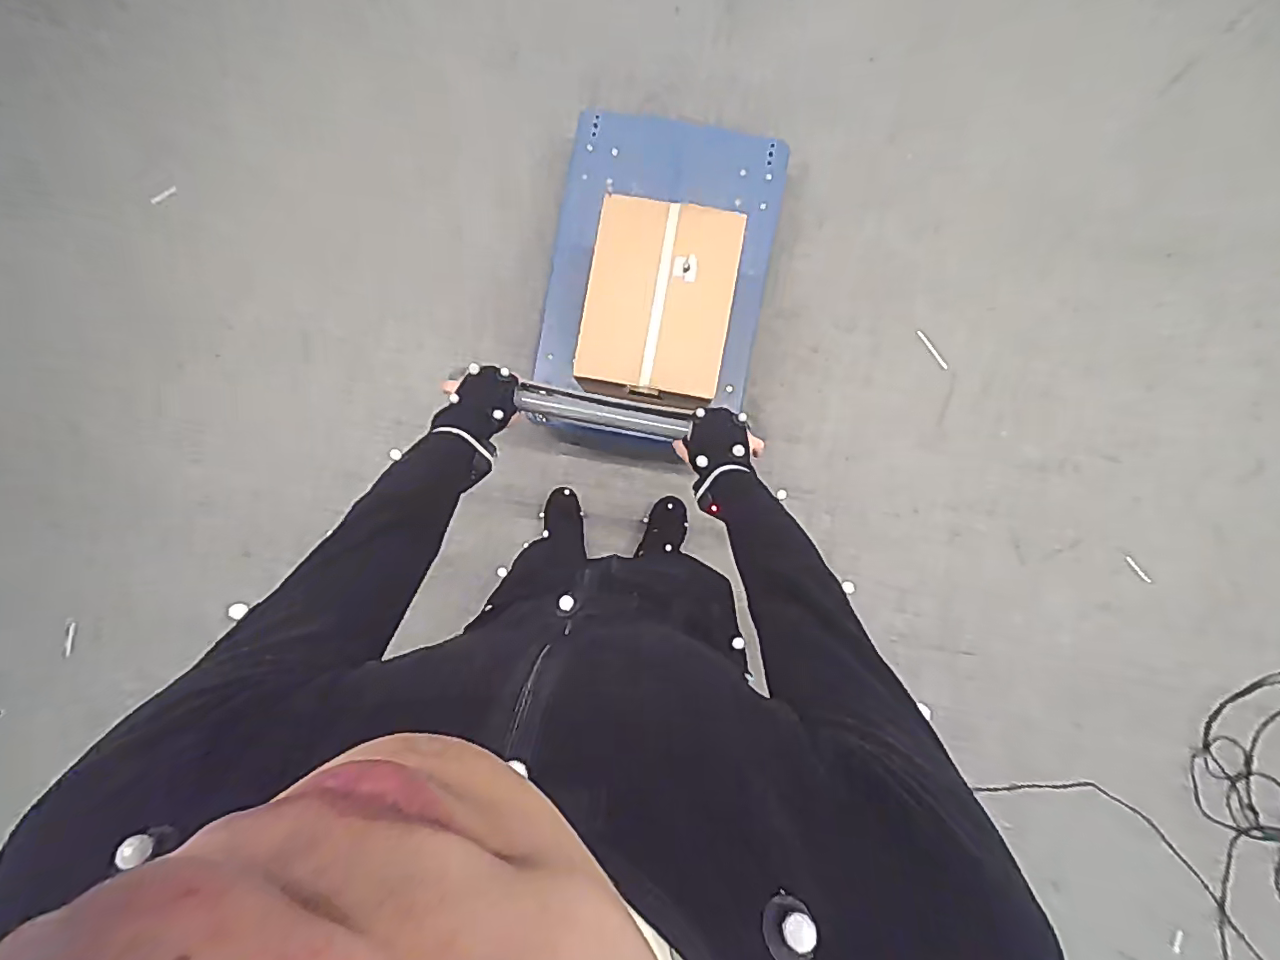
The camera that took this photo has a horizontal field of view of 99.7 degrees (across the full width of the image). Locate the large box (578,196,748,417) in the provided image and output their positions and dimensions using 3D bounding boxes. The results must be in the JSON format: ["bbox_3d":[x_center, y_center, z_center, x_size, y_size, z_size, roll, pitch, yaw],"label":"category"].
[{"bbox_3d":[0.054,-0.385,1.295,0.320,0.320,0.408,10,89,1],"label":"large box"}]
